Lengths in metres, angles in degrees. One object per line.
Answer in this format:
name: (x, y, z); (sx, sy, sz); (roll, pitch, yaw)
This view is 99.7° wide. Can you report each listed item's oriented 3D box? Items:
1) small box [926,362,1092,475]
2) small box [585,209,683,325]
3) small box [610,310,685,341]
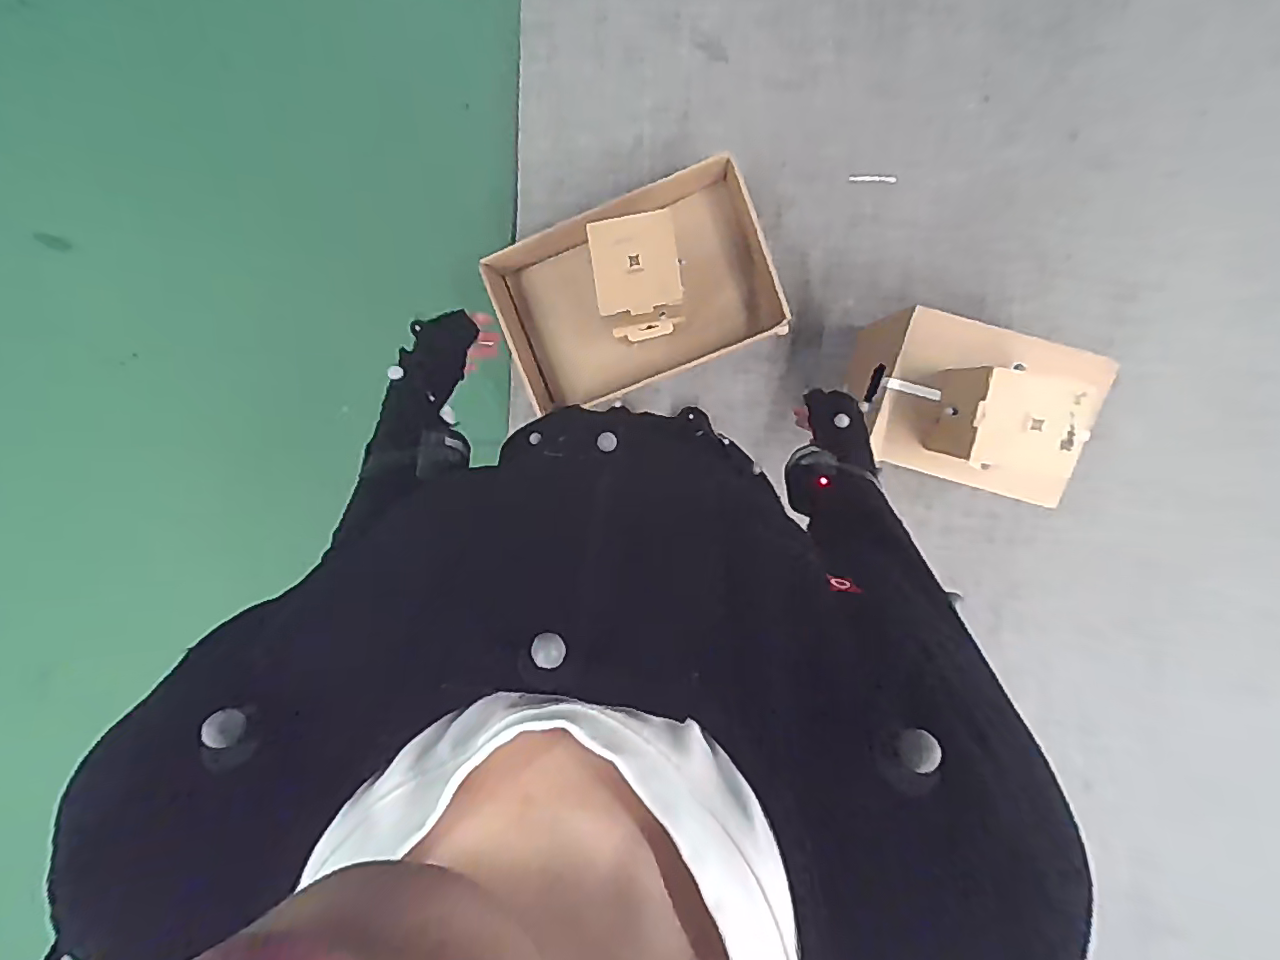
small box: (0.662, -0.115, 0.996); (0.179, 0.176, 0.168); (11, 100, 3)
small box: (-0.004, -0.422, 1.107); (0.168, 0.176, 0.179); (-9, 95, 6)
small box: (0.010, -0.431, 1.268); (0.168, 0.176, 0.179); (-12, 96, 8)
